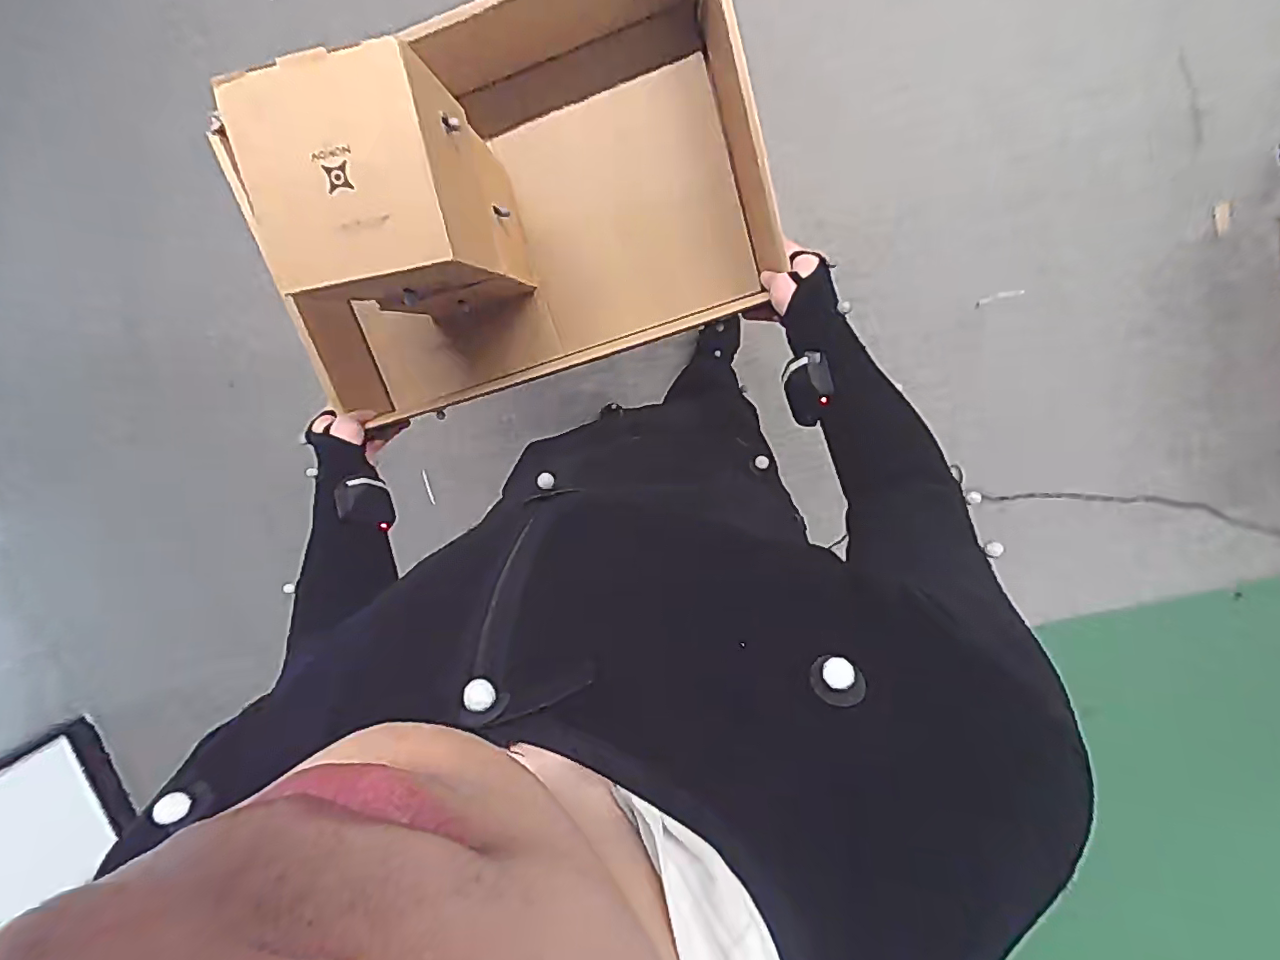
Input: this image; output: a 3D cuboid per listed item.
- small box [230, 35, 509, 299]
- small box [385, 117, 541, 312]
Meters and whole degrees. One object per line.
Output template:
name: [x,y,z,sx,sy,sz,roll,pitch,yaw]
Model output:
small box: [-0.245,-0.287,0.539,0.168,0.176,0.179,-9,105,4]
small box: [-0.240,-0.324,0.698,0.168,0.176,0.179,-13,106,4]
